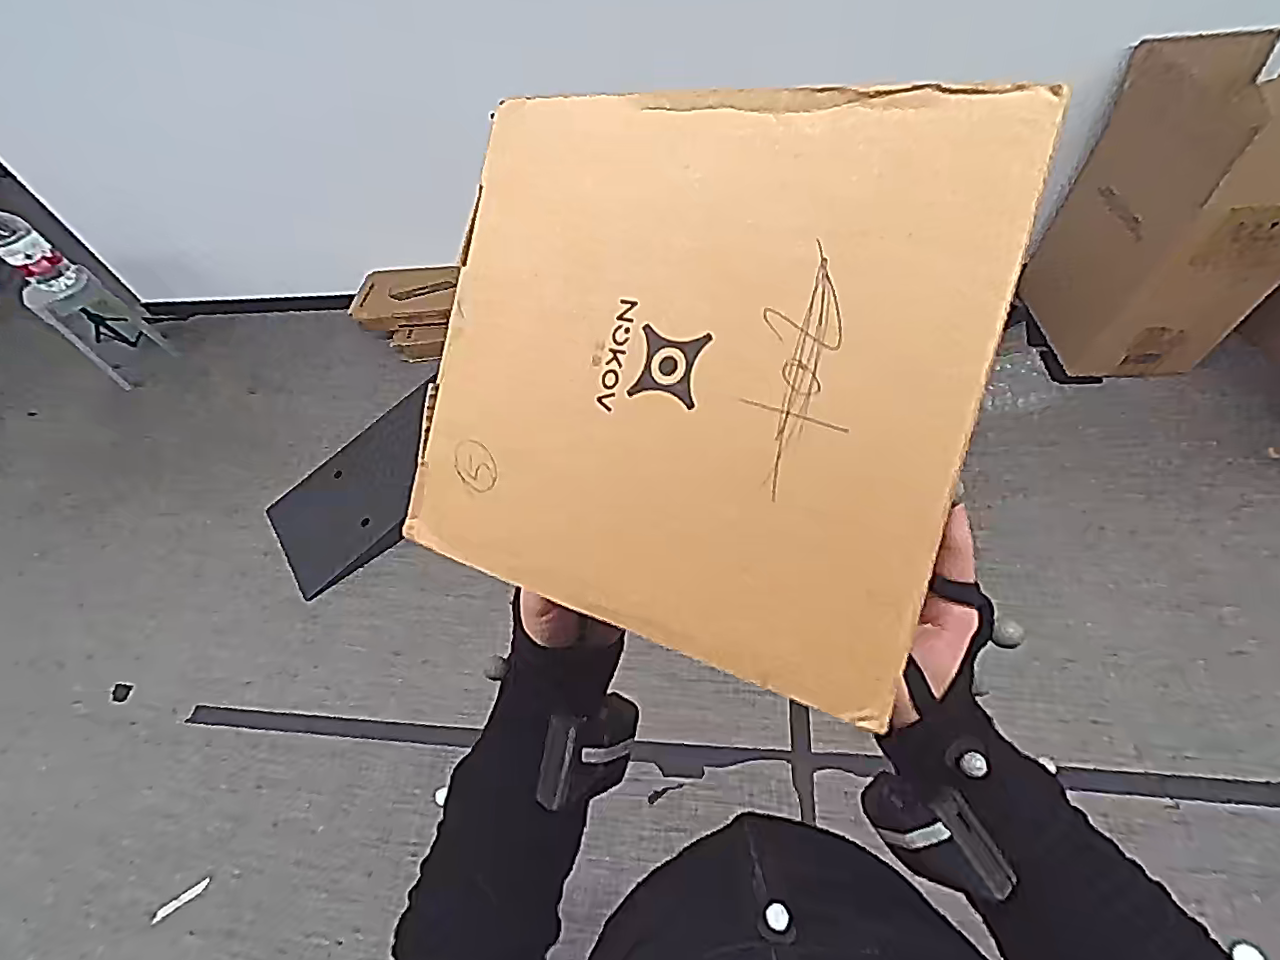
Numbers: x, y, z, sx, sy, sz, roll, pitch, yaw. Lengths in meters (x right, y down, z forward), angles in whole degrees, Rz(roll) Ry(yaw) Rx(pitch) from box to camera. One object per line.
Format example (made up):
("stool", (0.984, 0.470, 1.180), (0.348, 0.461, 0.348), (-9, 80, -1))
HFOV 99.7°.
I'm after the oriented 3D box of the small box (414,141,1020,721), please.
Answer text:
("small box", (0.035, -0.026, 0.254), (0.179, 0.176, 0.168), (16, 95, 23))
